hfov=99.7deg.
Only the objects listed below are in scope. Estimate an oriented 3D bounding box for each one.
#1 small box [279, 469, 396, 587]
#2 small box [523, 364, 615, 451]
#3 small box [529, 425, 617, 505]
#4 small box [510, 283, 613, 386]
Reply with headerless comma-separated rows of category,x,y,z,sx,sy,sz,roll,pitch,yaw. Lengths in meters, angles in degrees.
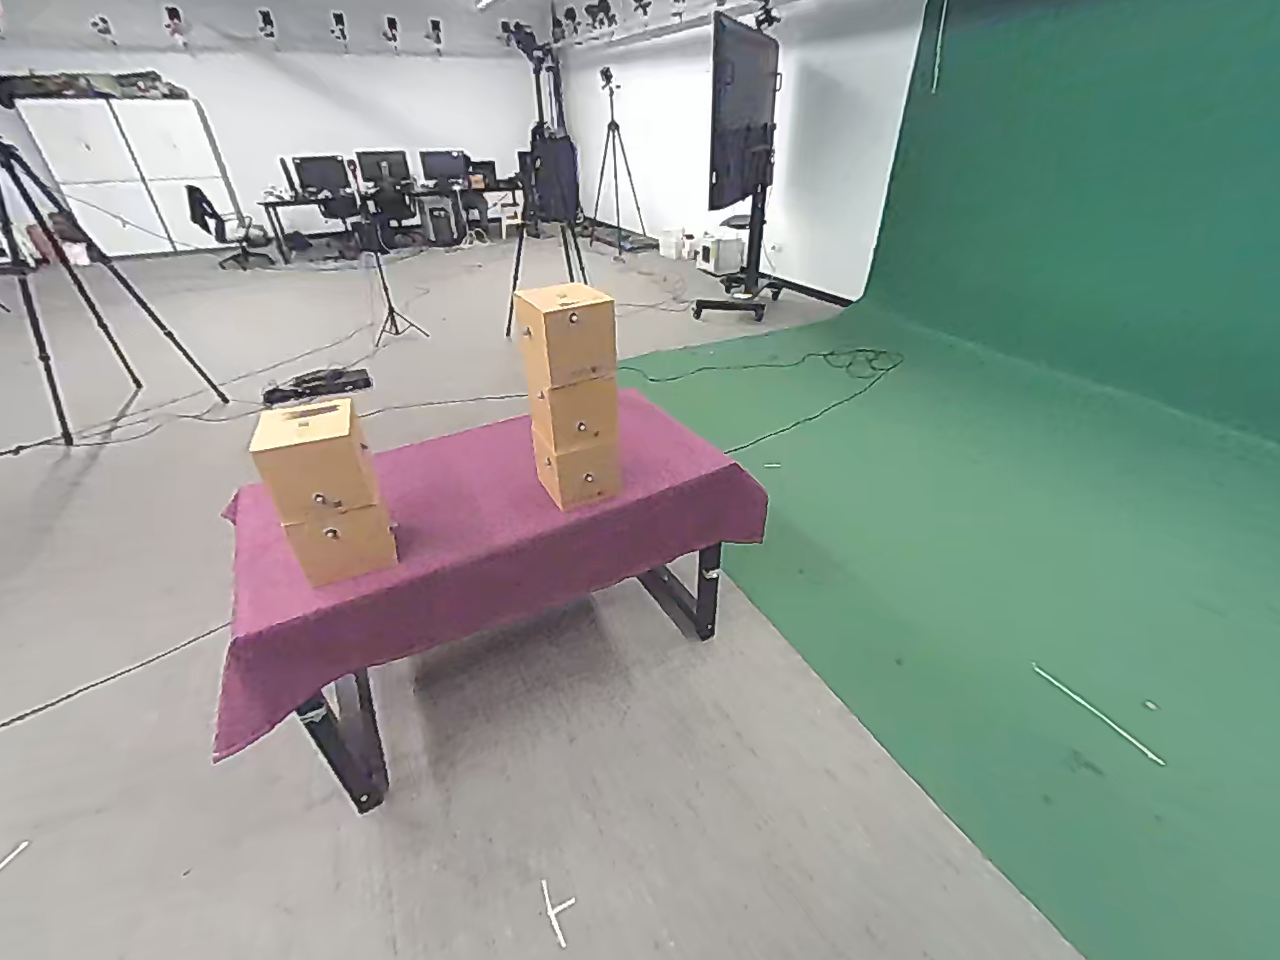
small box,-0.648,0.104,1.172,0.179,0.176,0.168,-16,36,-21
small box,-0.171,-0.192,1.300,0.168,0.176,0.179,-18,38,-23
small box,-0.168,-0.052,1.384,0.168,0.176,0.179,-18,37,-23
small box,-0.173,-0.327,1.206,0.168,0.176,0.179,-21,38,-25
